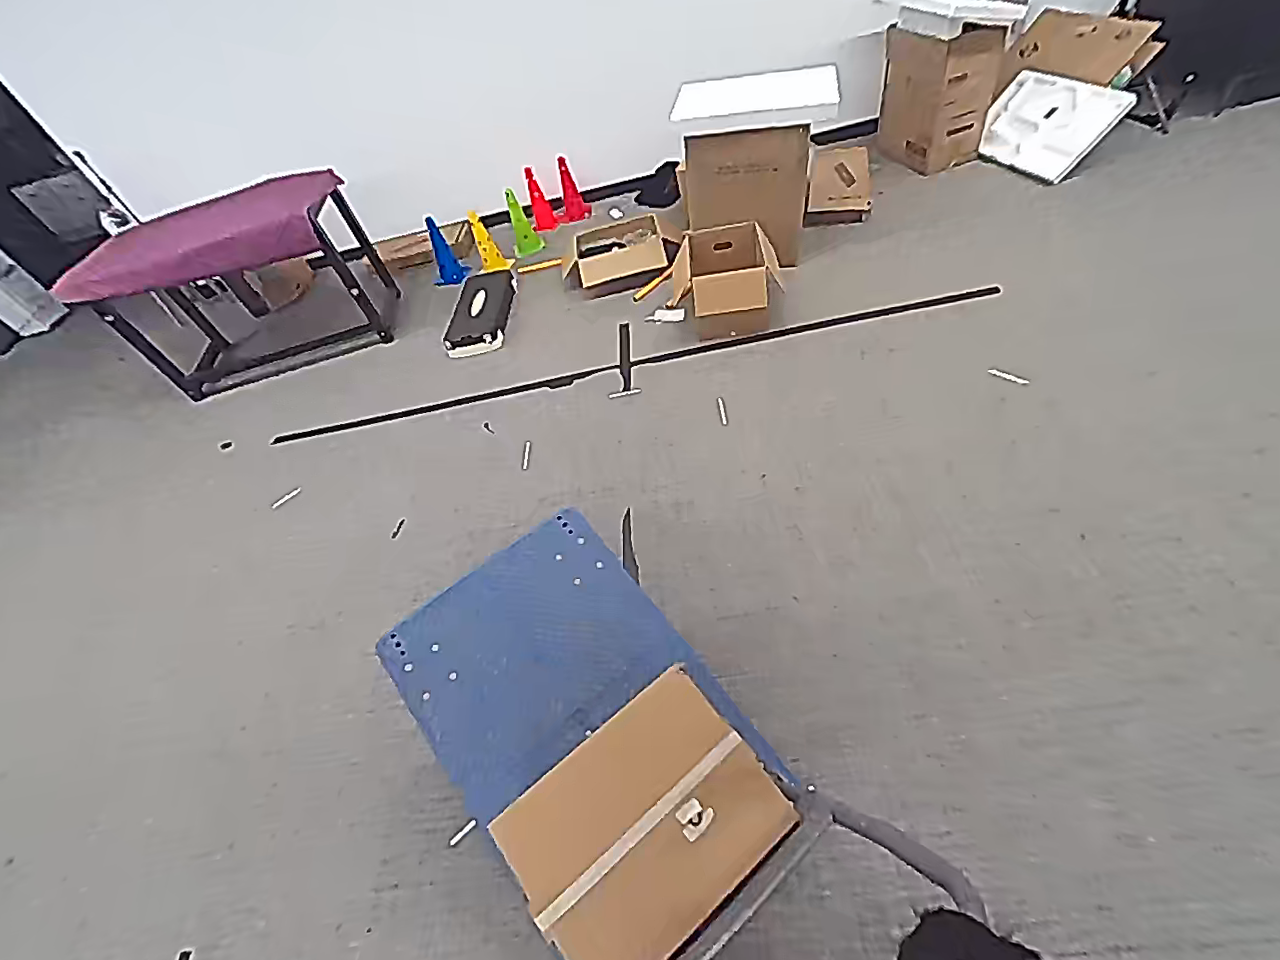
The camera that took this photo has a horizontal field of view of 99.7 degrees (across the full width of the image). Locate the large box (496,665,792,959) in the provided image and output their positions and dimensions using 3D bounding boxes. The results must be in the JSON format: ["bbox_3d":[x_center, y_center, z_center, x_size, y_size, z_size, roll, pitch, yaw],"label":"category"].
[{"bbox_3d":[0.005,0.625,1.021,0.408,0.320,0.320,-37,71,-18],"label":"large box"}]
